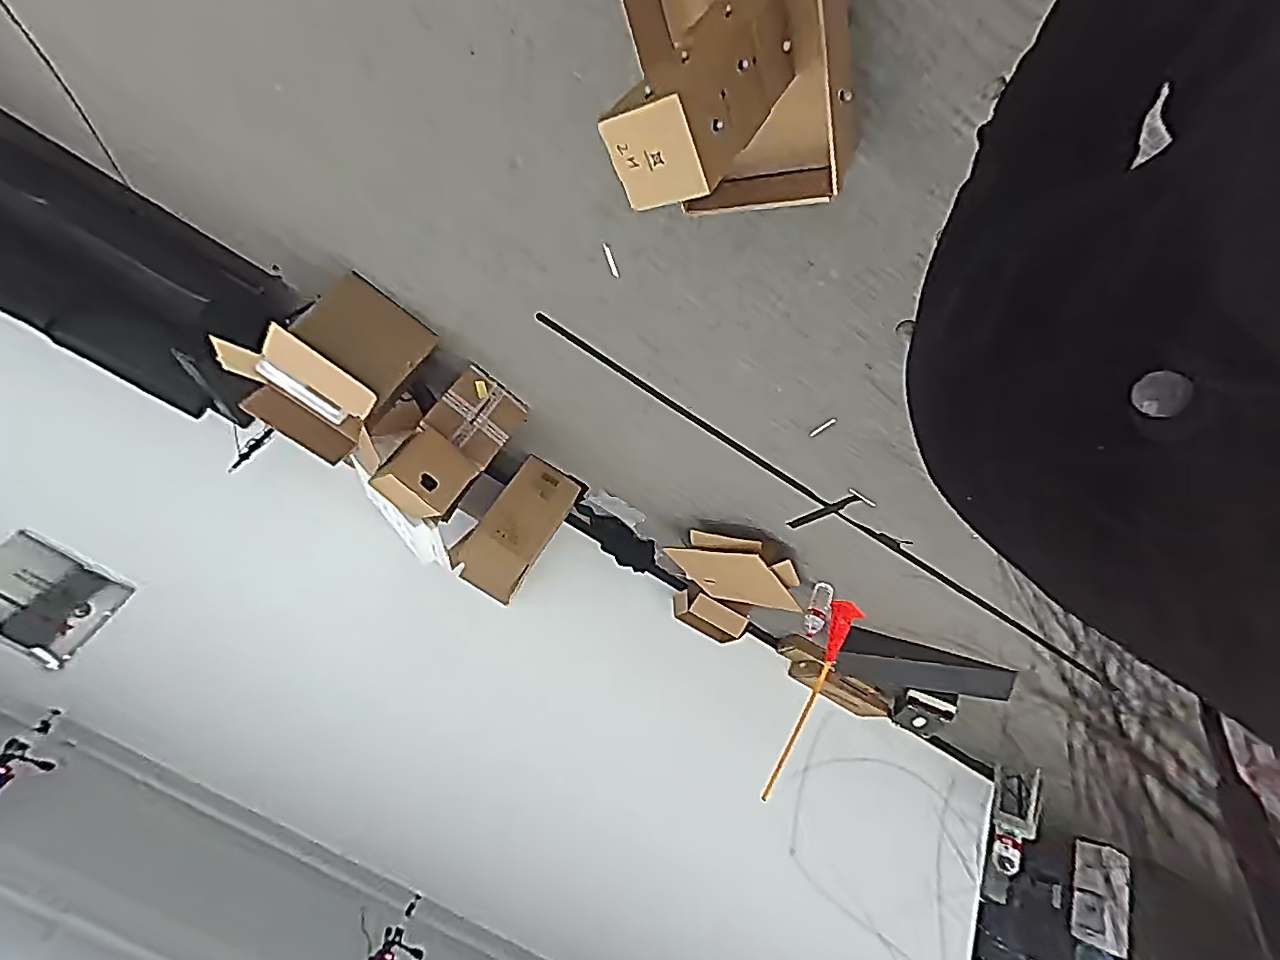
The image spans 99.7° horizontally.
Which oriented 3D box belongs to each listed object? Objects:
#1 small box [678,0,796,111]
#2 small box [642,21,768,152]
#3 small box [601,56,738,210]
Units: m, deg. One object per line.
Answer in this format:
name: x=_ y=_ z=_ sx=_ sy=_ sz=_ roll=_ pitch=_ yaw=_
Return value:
small box: x=0.209 y=-0.890 z=1.137 sx=0.179 sy=0.176 sz=0.168 roll=10 pitch=148 yaw=32
small box: x=0.138 y=-0.760 z=1.072 sx=0.179 sy=0.176 sz=0.168 roll=9 pitch=146 yaw=37
small box: x=0.065 y=-0.634 z=0.993 sx=0.179 sy=0.176 sz=0.168 roll=8 pitch=145 yaw=36
